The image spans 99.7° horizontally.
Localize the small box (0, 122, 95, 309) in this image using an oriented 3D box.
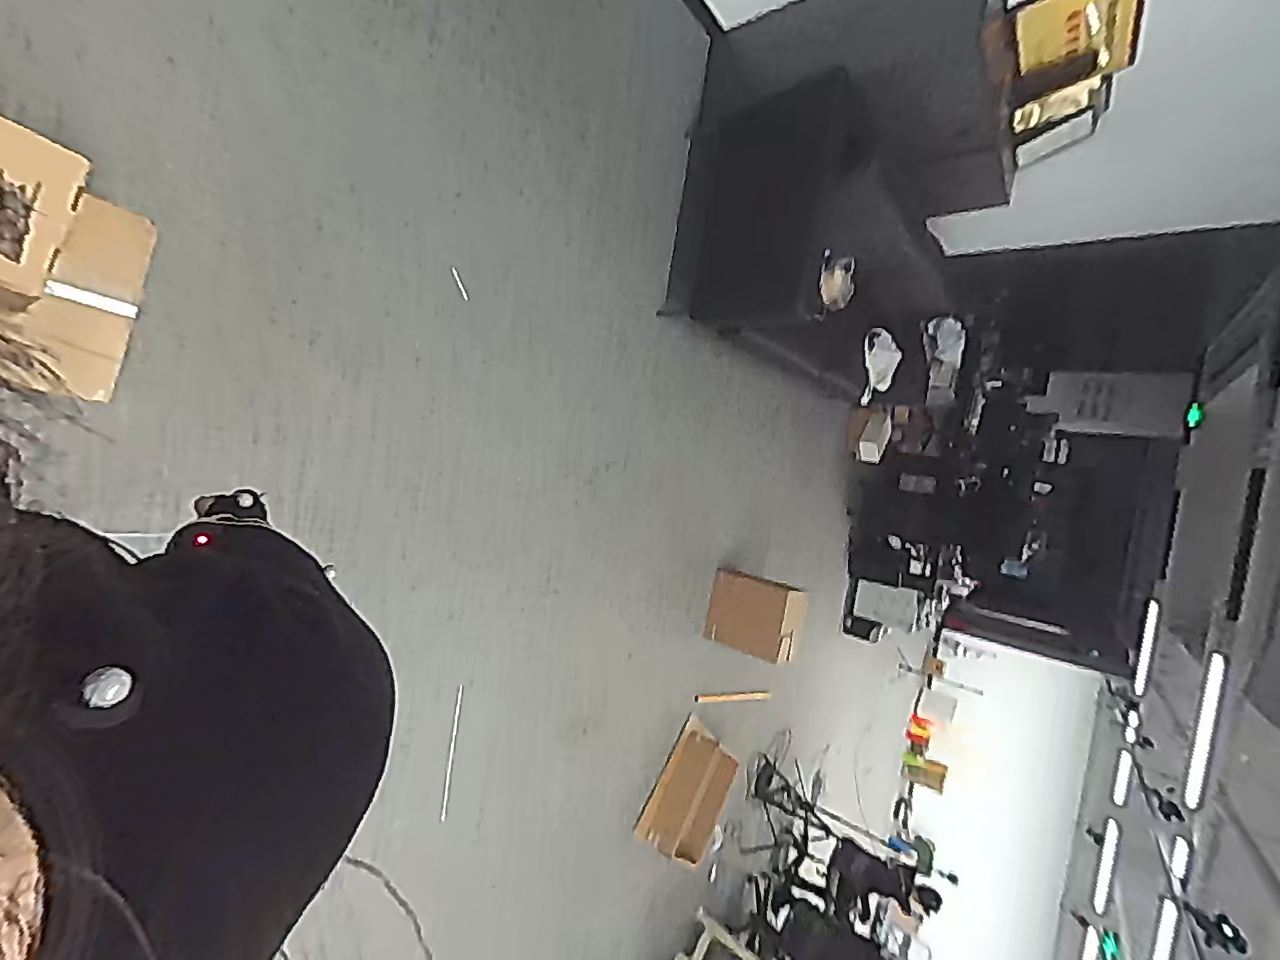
[{"bbox_3d":[-0.735,-0.295,0.571,0.179,0.176,0.168,22,78,-51],"label":"small box"}]
